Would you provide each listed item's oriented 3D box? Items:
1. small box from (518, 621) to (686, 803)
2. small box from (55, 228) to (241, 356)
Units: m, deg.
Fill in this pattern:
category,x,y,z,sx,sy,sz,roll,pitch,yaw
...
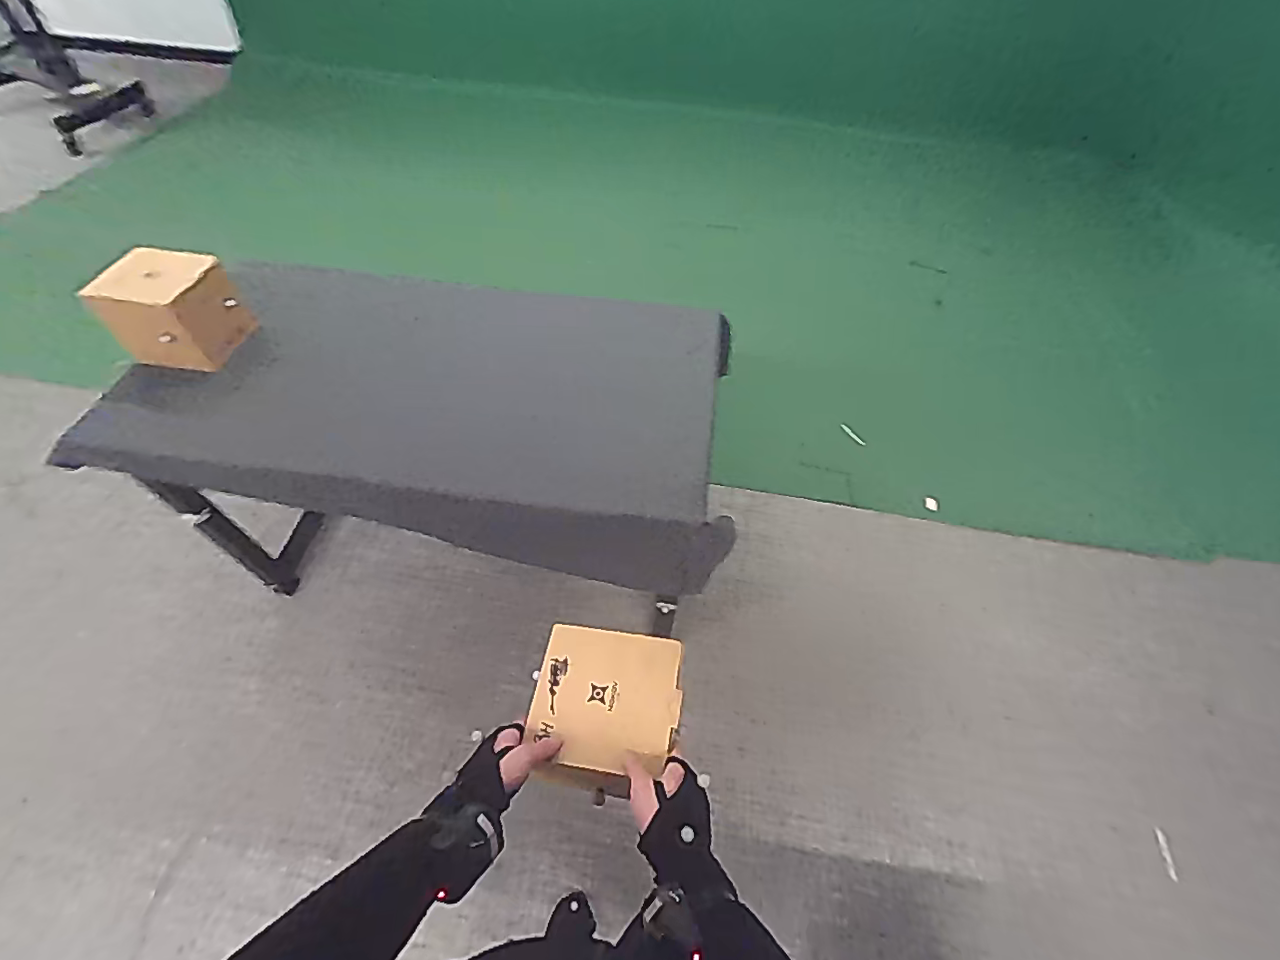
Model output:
category,x,y,z,sx,sy,sz,roll,pitch,yaw
small box,-0.041,0.305,0.702,0.179,0.176,0.168,7,51,4
small box,-0.945,-0.364,1.063,0.179,0.176,0.168,8,52,1
